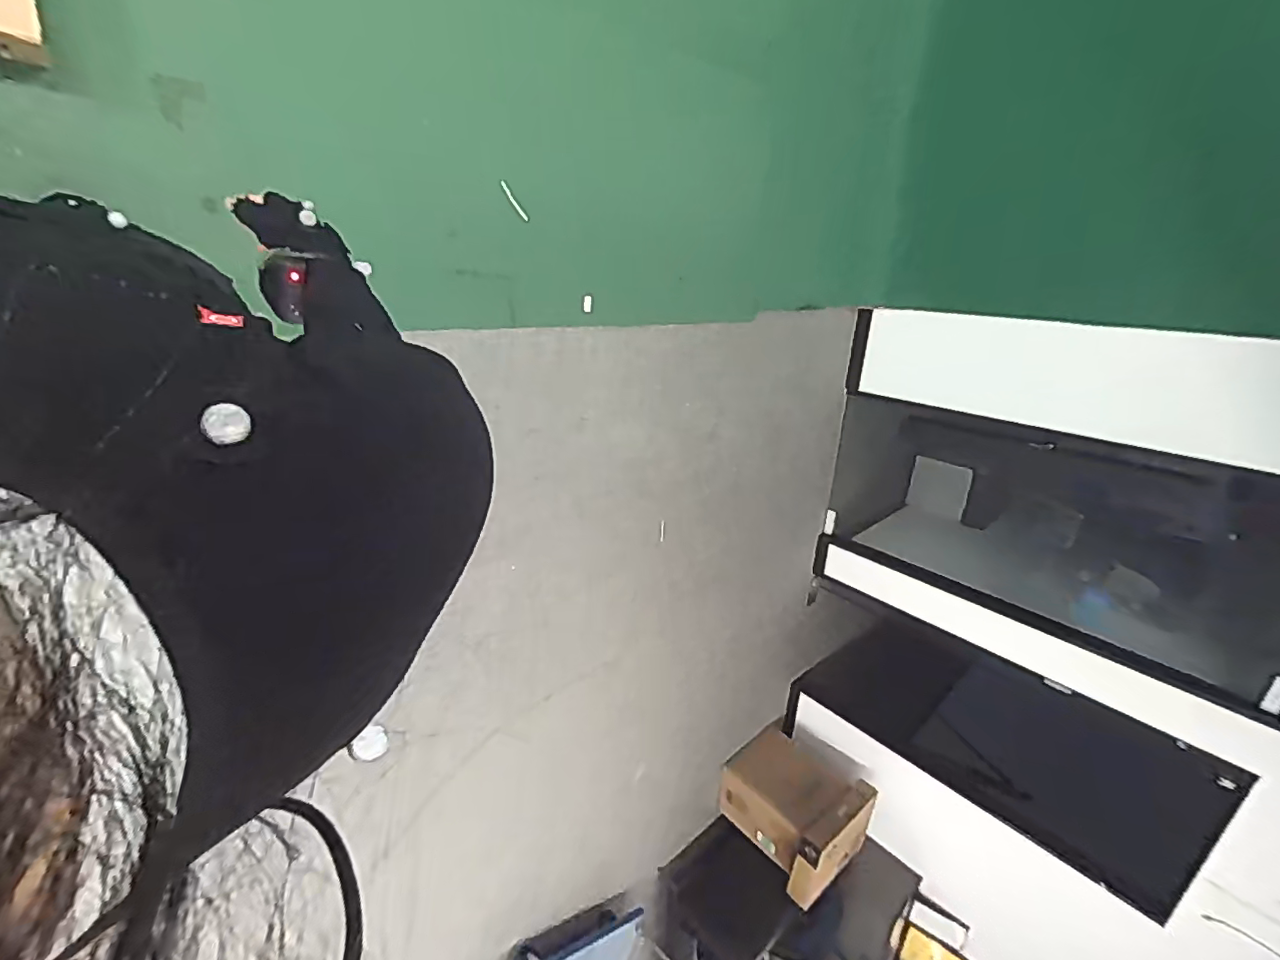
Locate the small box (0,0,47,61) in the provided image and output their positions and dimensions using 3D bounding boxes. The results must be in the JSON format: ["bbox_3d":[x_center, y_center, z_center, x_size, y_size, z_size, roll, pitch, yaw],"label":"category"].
[{"bbox_3d":[-0.996,-0.745,0.778,0.168,0.176,0.179,-10,115,-42],"label":"small box"}]
